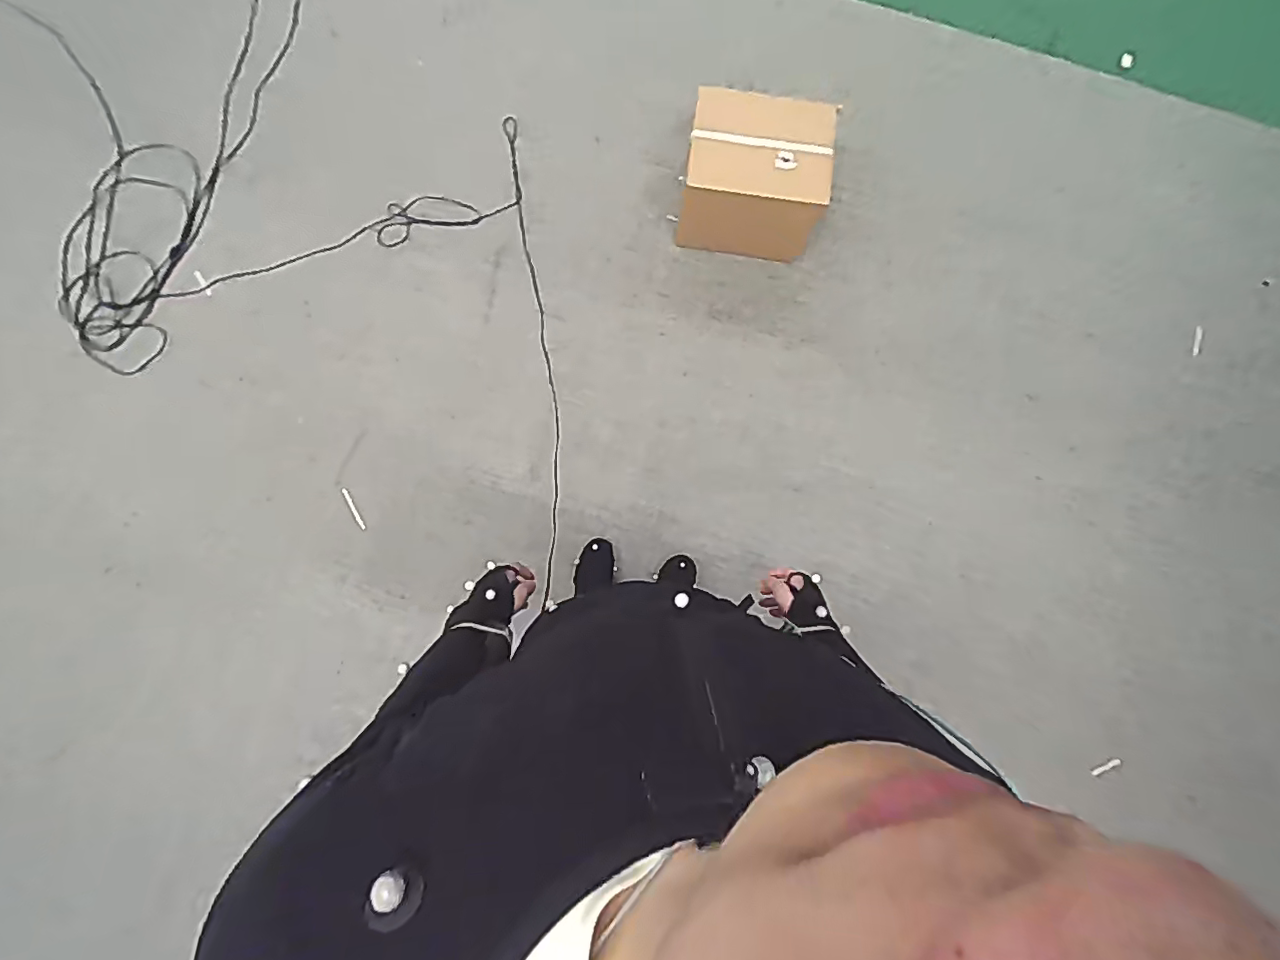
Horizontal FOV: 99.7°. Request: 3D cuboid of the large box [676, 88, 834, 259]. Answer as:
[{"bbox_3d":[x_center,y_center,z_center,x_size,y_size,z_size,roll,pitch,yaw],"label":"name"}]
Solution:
[{"bbox_3d":[0.333,-0.920,1.660,0.408,0.320,0.320,7,83,-1],"label":"large box"}]
